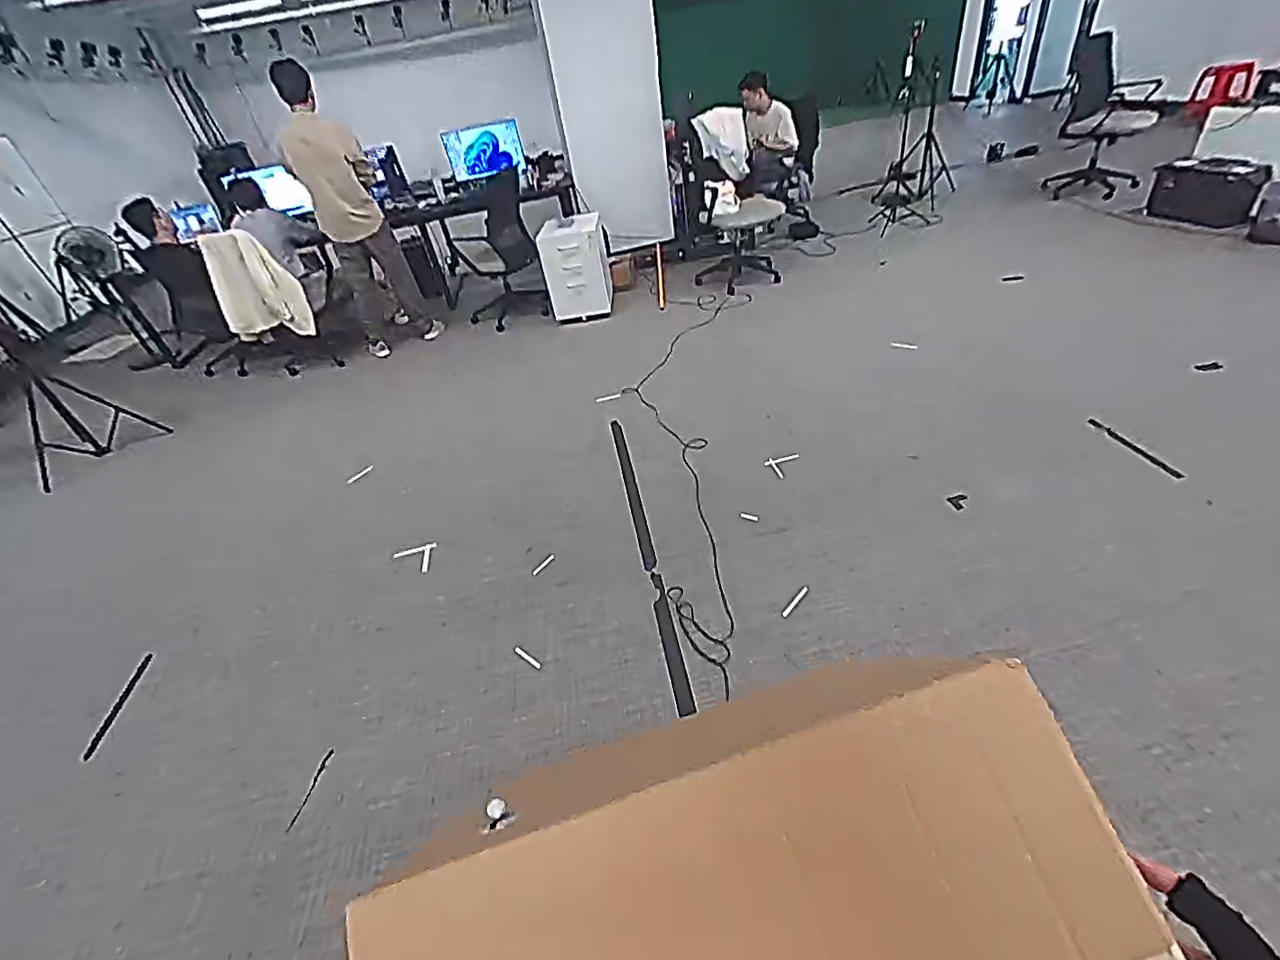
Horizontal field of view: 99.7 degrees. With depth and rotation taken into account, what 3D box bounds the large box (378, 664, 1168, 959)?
[{"bbox_3d":[0.094,0.362,0.408,0.408,0.320,0.320,-19,72,-3],"label":"large box"}]
